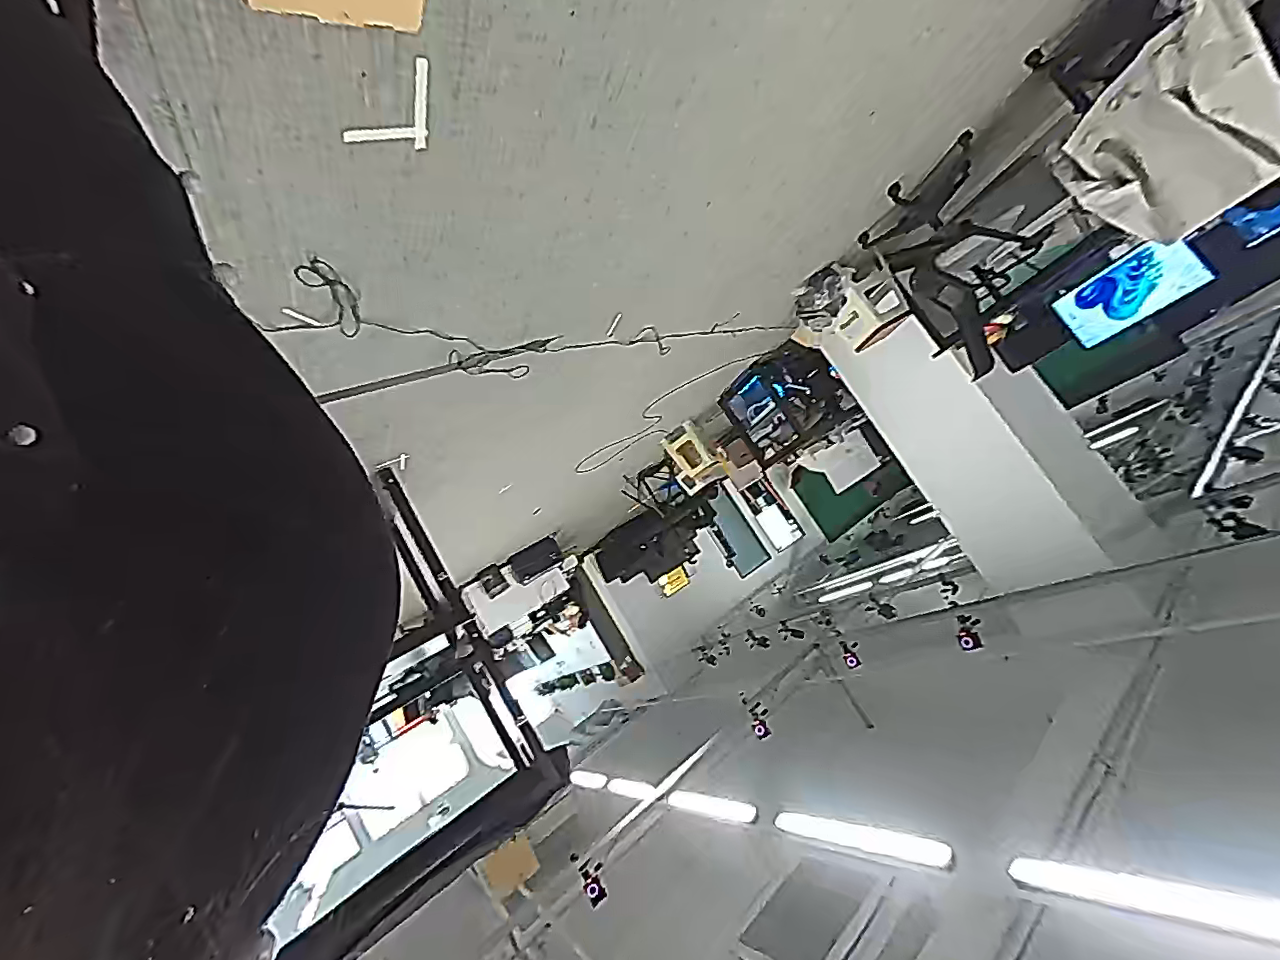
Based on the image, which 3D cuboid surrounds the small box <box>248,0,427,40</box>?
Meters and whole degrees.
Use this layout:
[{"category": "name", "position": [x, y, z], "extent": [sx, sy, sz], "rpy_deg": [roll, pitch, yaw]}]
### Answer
[{"category": "small box", "position": [-0.304, -0.558, 0.490], "extent": [0.168, 0.176, 0.179], "rpy_deg": [-25, 170, -35]}]

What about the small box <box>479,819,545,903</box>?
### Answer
[{"category": "small box", "position": [-0.476, 1.389, 1.984], "extent": [0.168, 0.176, 0.179], "rpy_deg": [-25, 171, -30]}]
